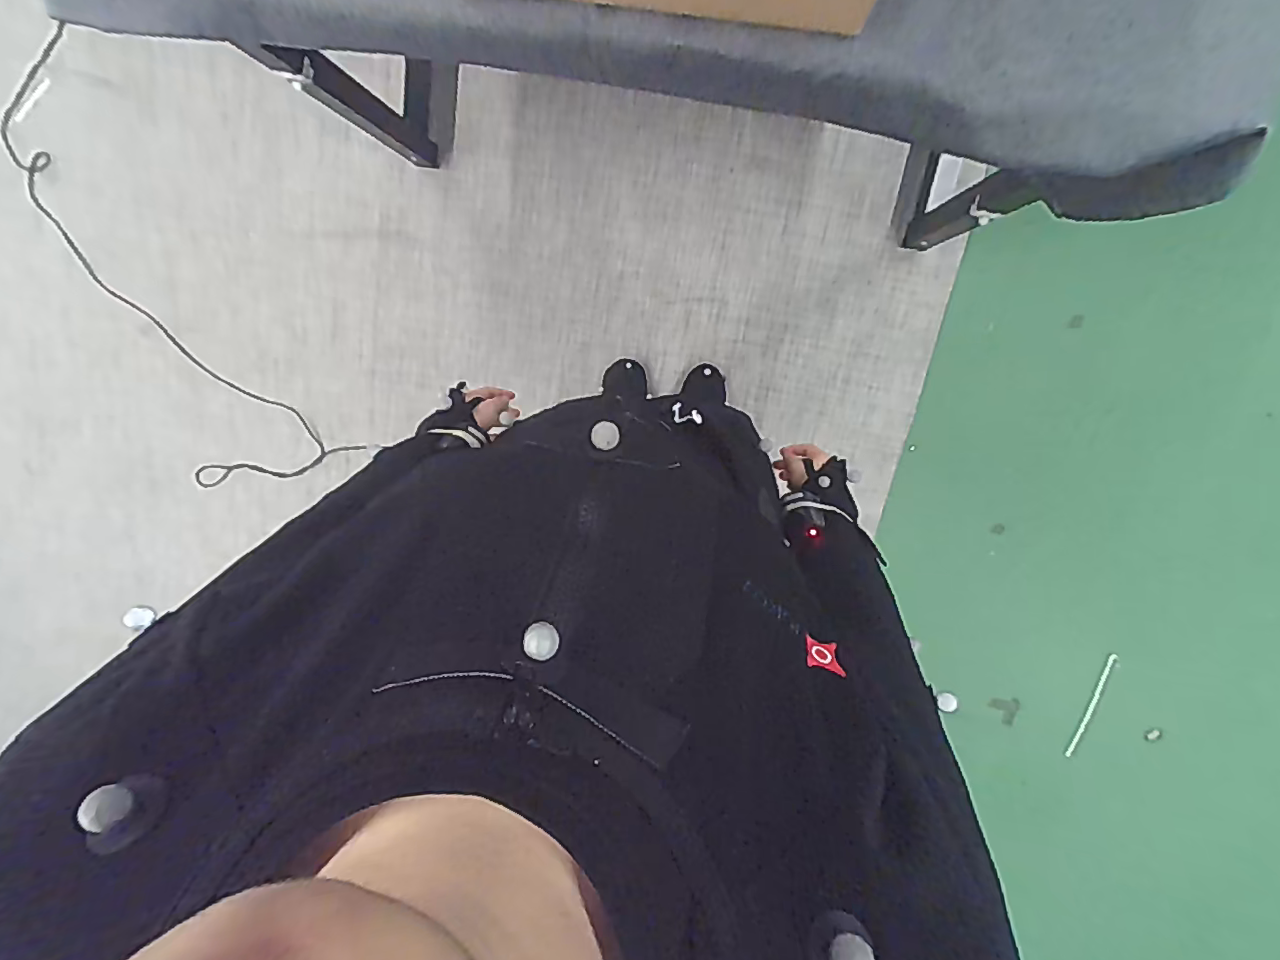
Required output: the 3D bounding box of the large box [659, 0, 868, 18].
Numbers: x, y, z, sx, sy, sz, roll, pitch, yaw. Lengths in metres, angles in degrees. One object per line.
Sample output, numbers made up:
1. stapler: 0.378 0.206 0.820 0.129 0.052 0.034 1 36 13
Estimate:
1. large box: 0.020 -0.573 0.340 0.408 0.320 0.320 9 103 2
